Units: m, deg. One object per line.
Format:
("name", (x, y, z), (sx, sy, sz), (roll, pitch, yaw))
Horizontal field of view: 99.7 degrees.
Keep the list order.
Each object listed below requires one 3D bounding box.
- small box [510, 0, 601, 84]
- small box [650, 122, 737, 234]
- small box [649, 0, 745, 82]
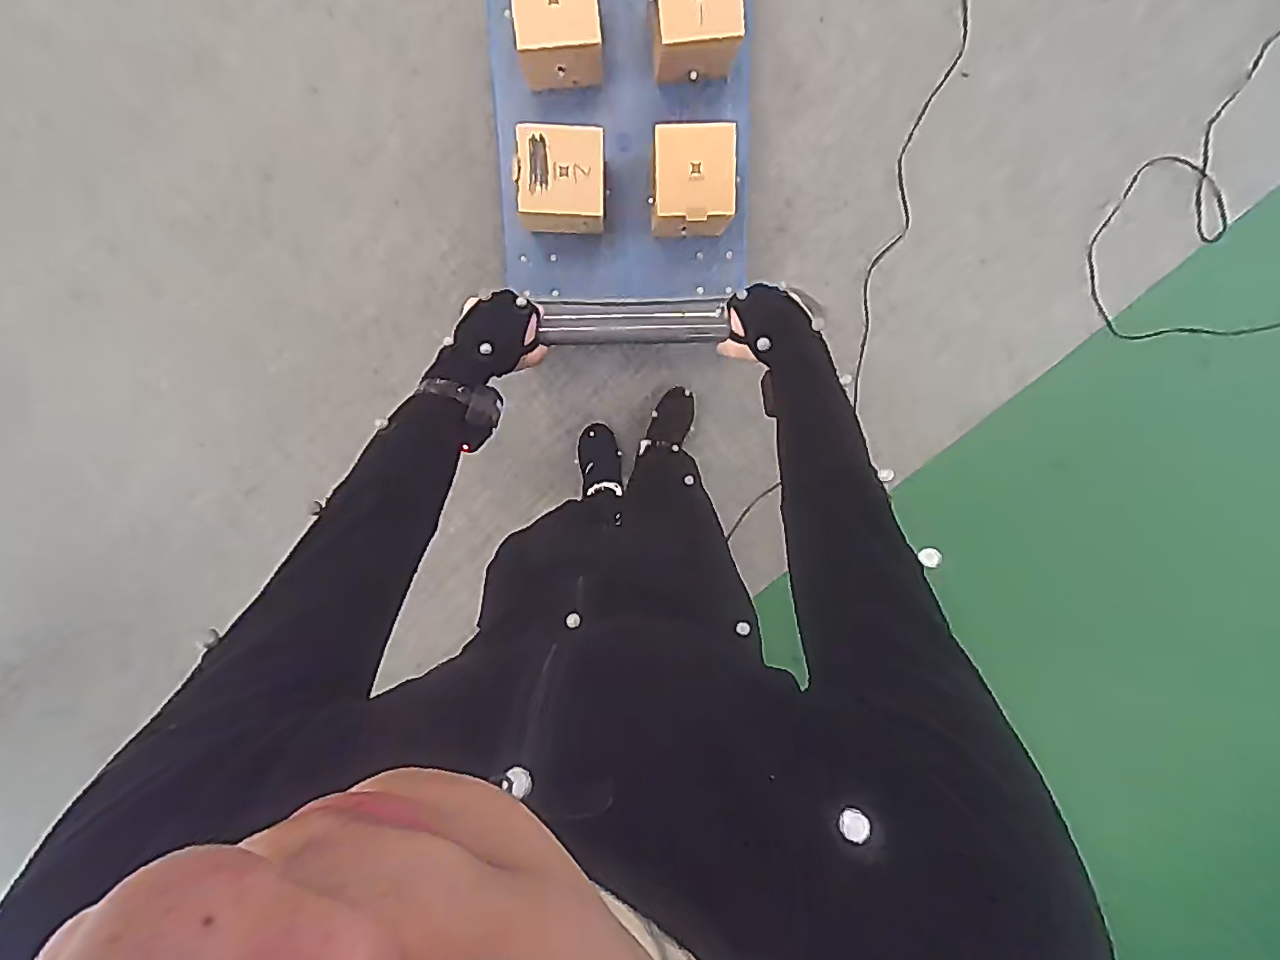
("small box", (-0.168, -0.936, 1.095), (0.168, 0.176, 0.179), (-6, 103, -2))
("small box", (0.111, -0.648, 1.178), (0.168, 0.176, 0.179), (-2, 104, -2))
("small box", (0.111, -0.956, 1.104), (0.168, 0.176, 0.179), (-6, 104, -1))
